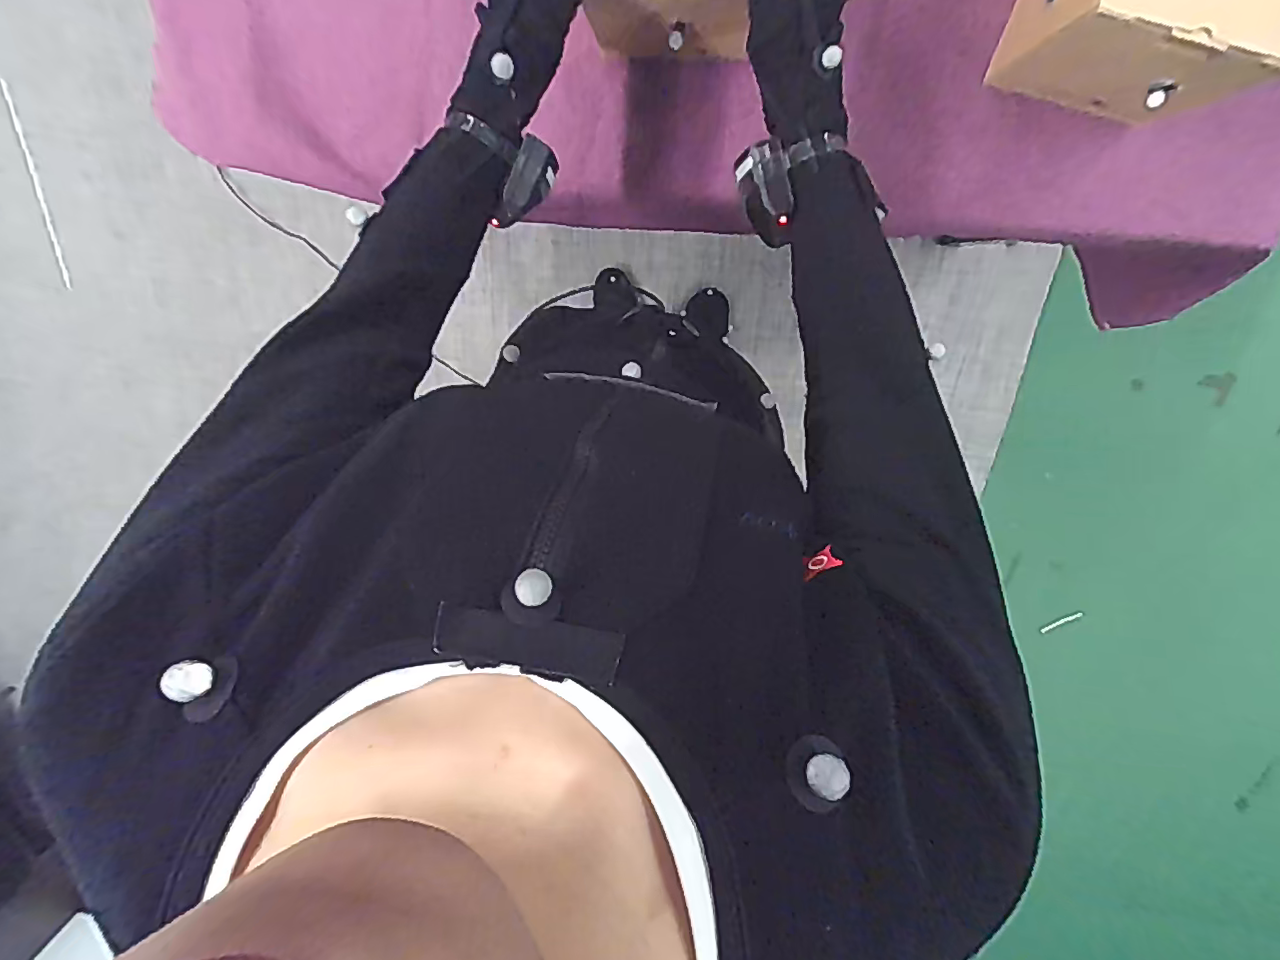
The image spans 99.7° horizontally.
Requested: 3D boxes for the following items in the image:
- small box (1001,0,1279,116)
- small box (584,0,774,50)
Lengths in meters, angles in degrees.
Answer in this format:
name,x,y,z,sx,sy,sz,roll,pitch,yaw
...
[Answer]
name,x,y,z,sx,sy,sz,roll,pitch,yaw
small box,0.437,-0.427,0.436,0.168,0.176,0.179,16,112,-1
small box,0.039,-0.489,0.452,0.168,0.176,0.179,3,113,4
